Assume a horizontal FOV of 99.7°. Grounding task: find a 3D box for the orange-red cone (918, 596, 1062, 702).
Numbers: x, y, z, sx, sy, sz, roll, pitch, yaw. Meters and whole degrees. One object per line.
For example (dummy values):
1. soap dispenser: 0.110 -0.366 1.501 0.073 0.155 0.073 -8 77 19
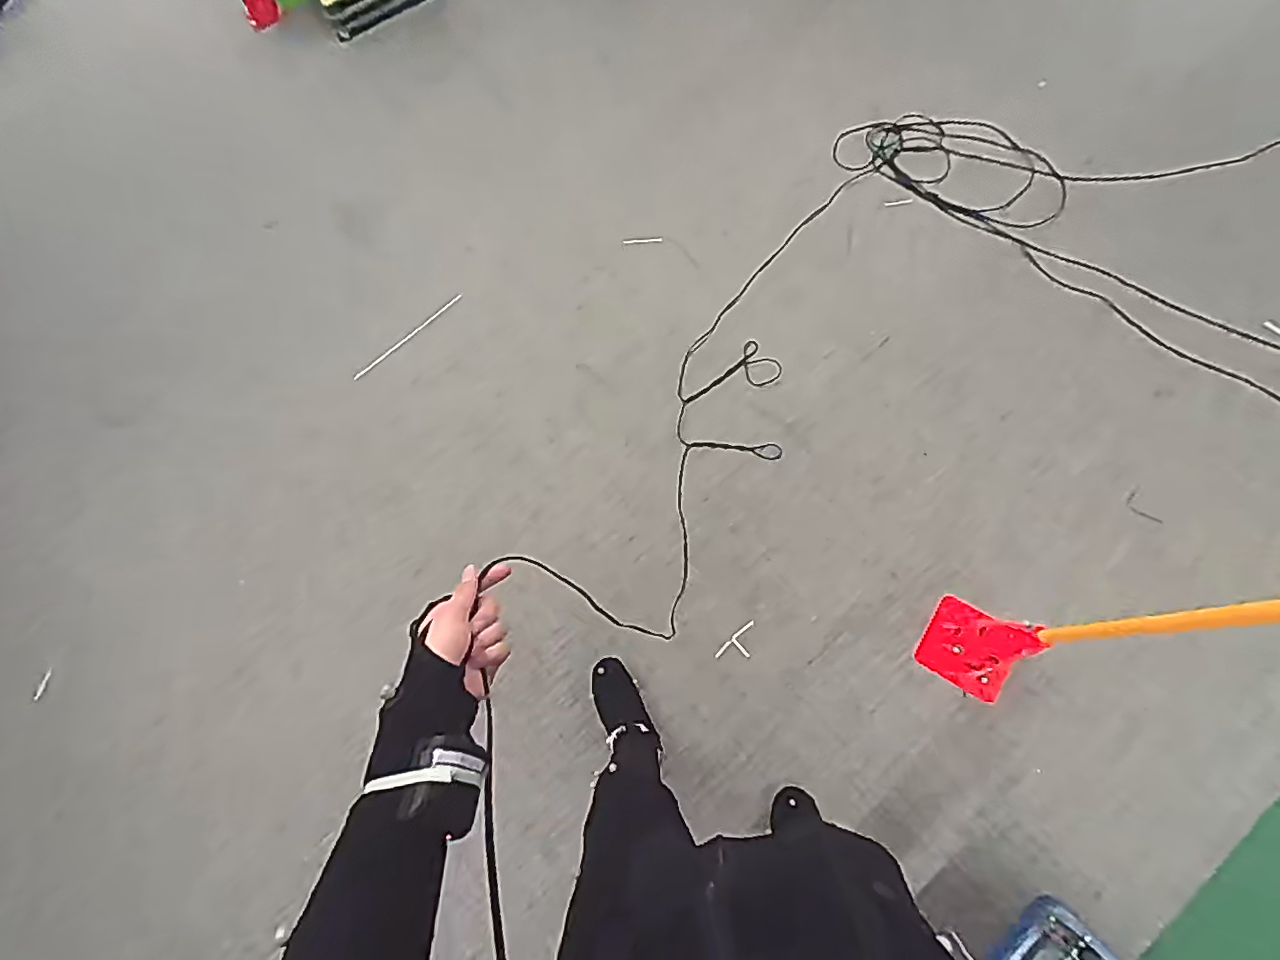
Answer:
1. orange-red cone: 0.790 0.351 1.173 0.198 0.360 0.199 31 76 18
